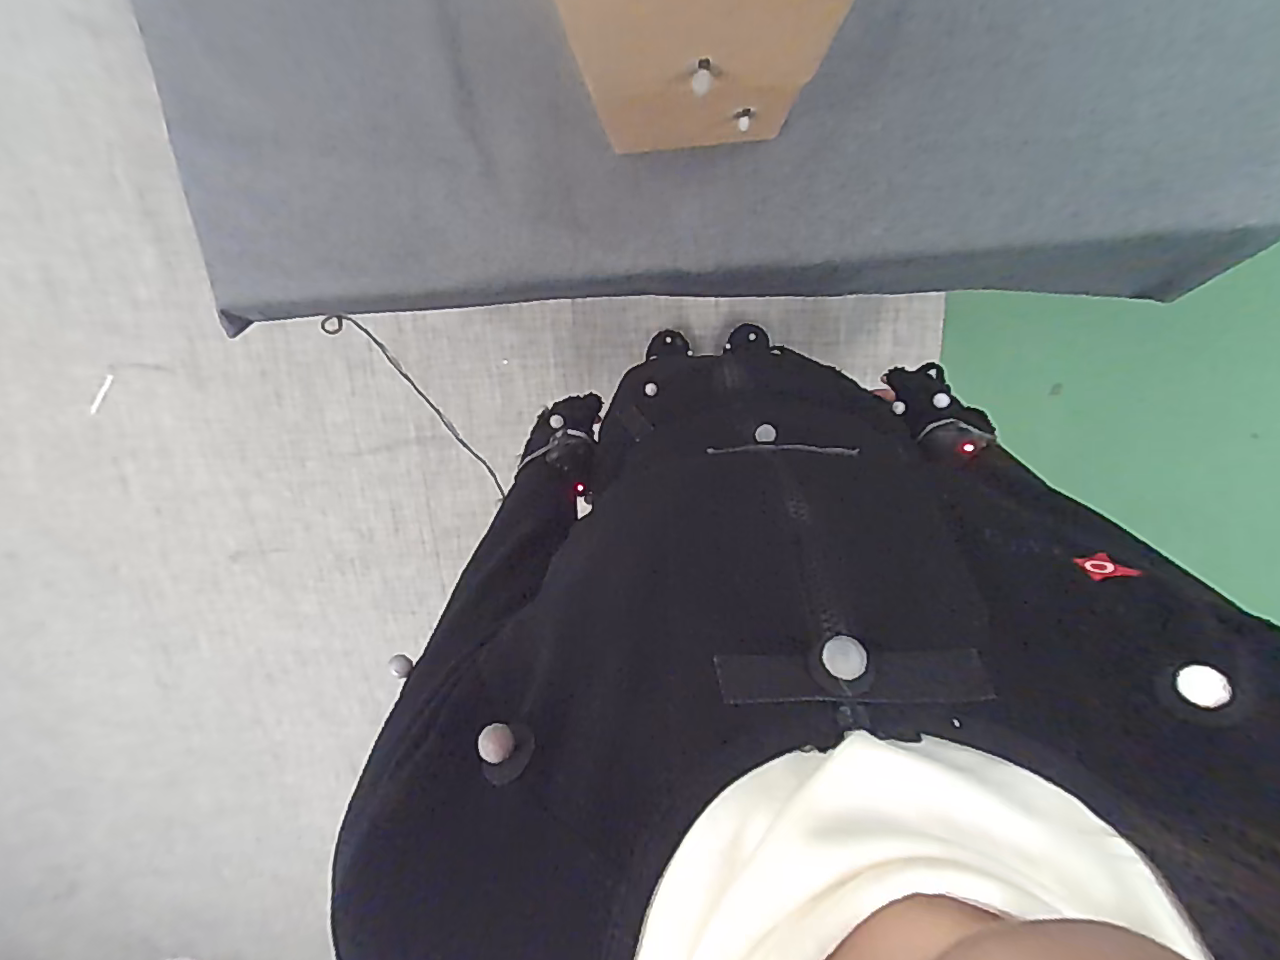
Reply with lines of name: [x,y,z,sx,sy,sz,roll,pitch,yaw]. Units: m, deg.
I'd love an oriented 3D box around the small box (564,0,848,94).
small box: [0.041,-0.369,0.335,0.179,0.176,0.168,-2,105,4]

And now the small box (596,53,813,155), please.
small box: [0.051,-0.418,0.491,0.179,0.176,0.168,-3,105,7]
